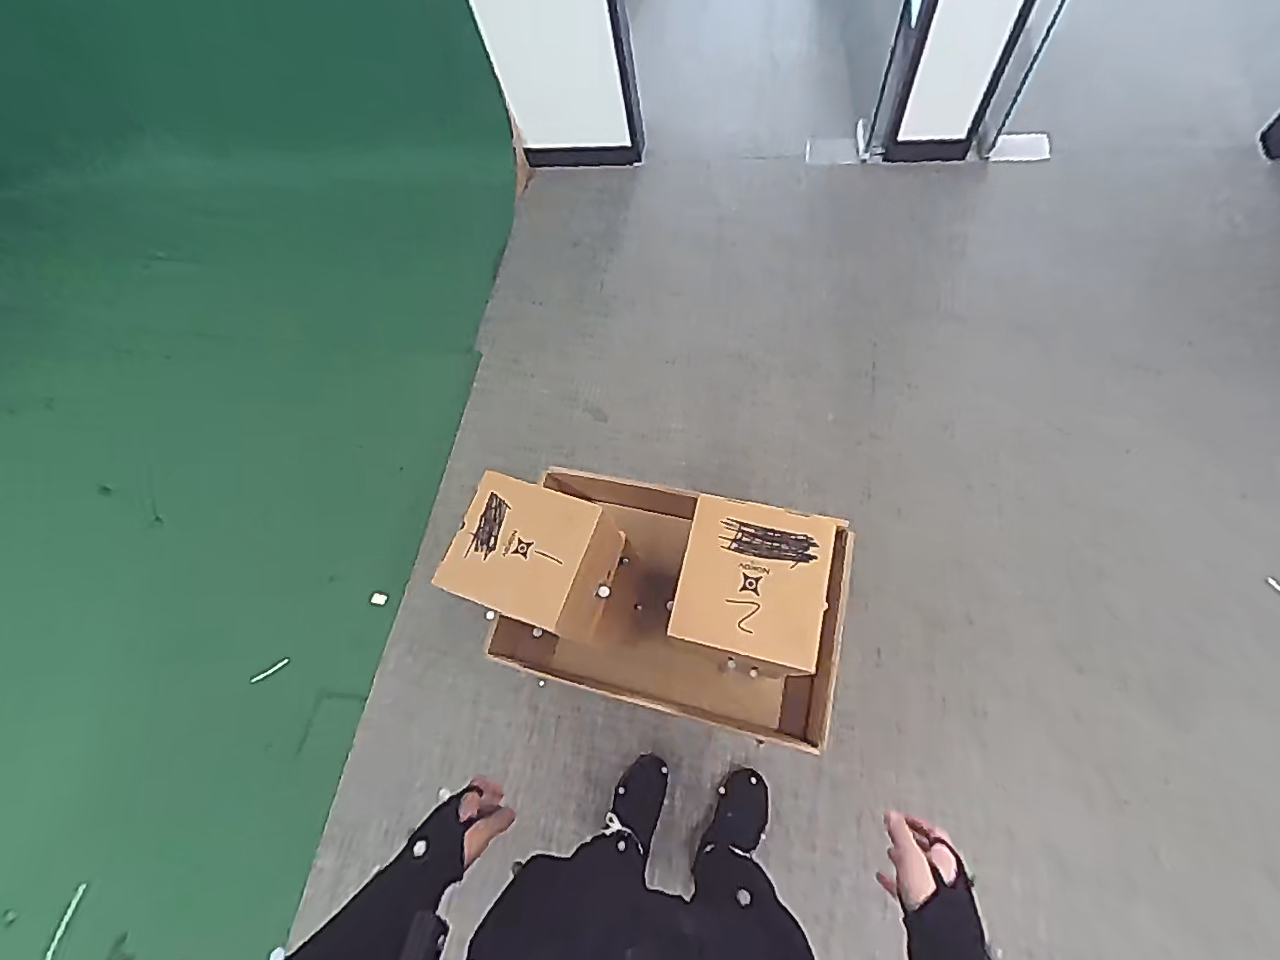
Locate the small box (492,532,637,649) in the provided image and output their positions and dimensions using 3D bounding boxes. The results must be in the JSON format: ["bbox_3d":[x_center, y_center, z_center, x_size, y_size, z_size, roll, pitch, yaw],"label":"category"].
[{"bbox_3d":[-0.113,0.170,0.901,0.168,0.176,0.179,14,71,14],"label":"small box"}]

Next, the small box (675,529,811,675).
[{"bbox_3d":[0.160,0.197,0.846,0.168,0.176,0.179,12,70,12],"label":"small box"}]

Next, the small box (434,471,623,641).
[{"bbox_3d":[-0.140,0.113,0.750,0.179,0.176,0.168,18,72,14],"label":"small box"}]
